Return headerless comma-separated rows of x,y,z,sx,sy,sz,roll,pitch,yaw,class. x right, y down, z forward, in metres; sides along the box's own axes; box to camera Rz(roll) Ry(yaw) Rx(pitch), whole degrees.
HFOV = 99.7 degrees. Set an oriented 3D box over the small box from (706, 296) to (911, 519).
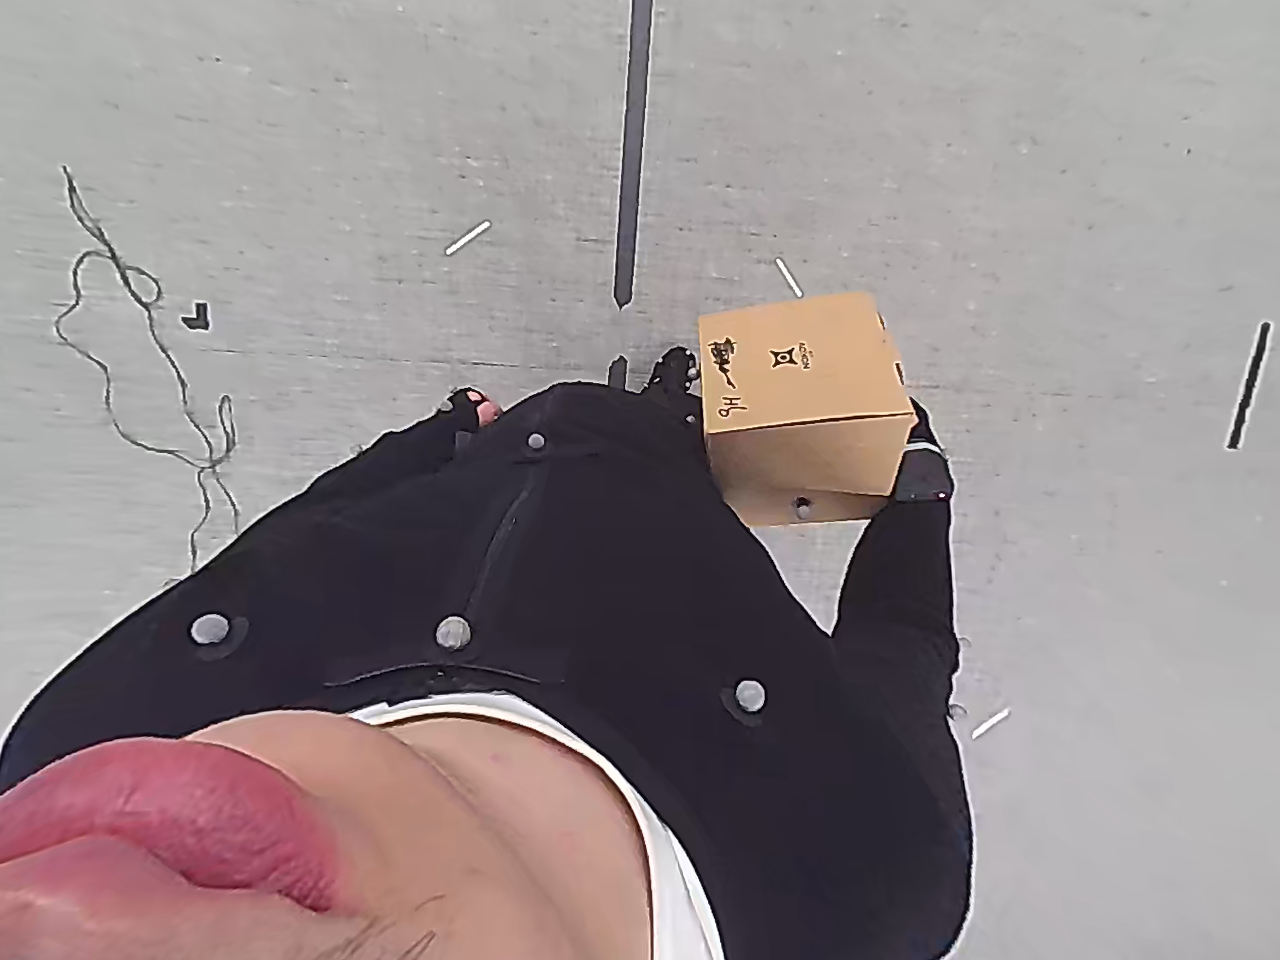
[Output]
0.167,-0.071,0.589,0.179,0.168,0.176,-5,143,10,small box
